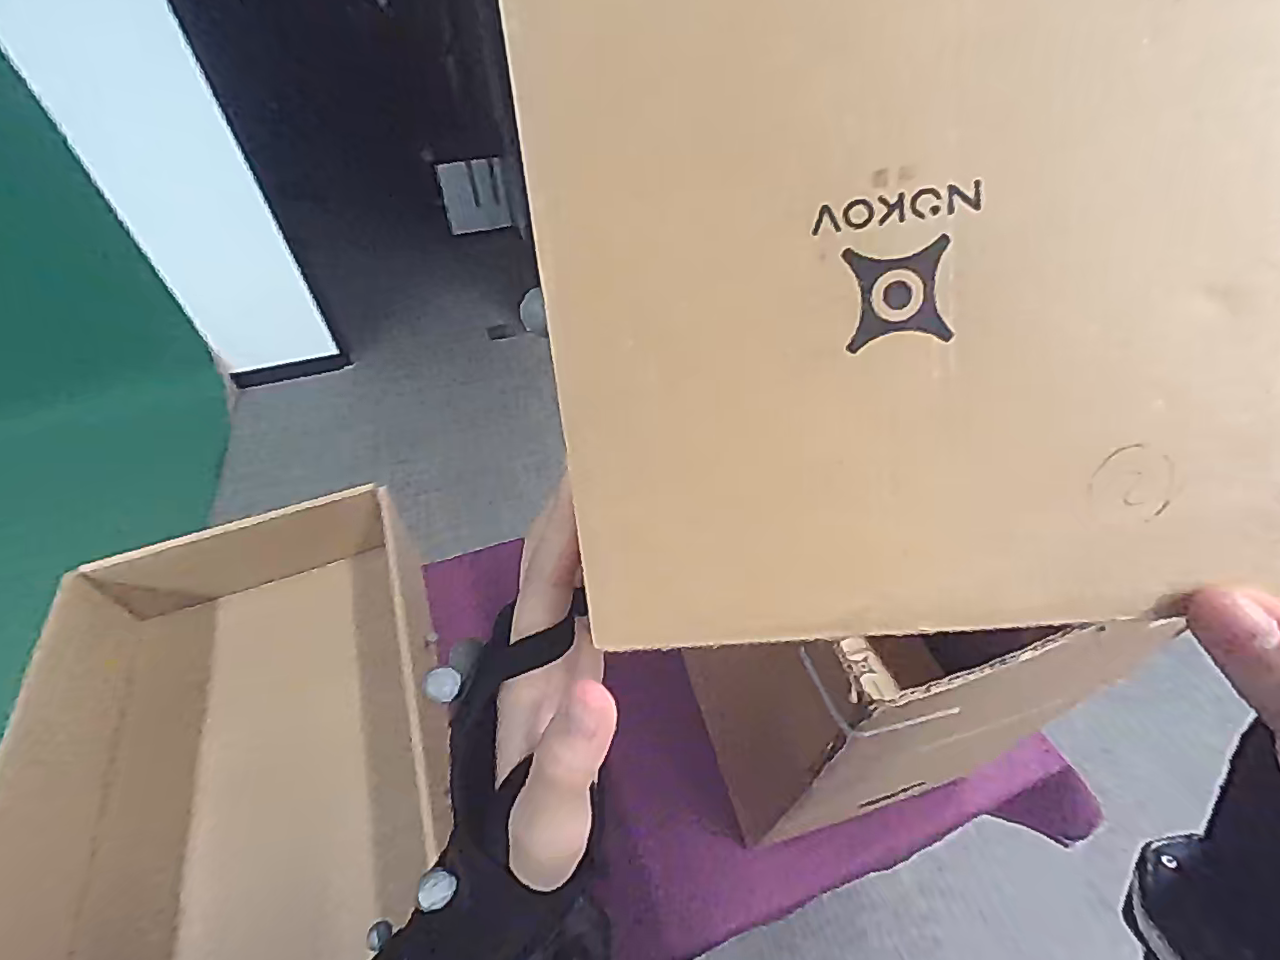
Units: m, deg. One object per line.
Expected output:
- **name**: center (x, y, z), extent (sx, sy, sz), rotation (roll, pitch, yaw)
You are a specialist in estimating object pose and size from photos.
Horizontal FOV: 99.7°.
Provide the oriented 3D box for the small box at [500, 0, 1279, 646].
- **small box**: center (0.067, -0.059, 0.204), extent (0.168, 0.179, 0.176), rotation (-6, 10, 8)
